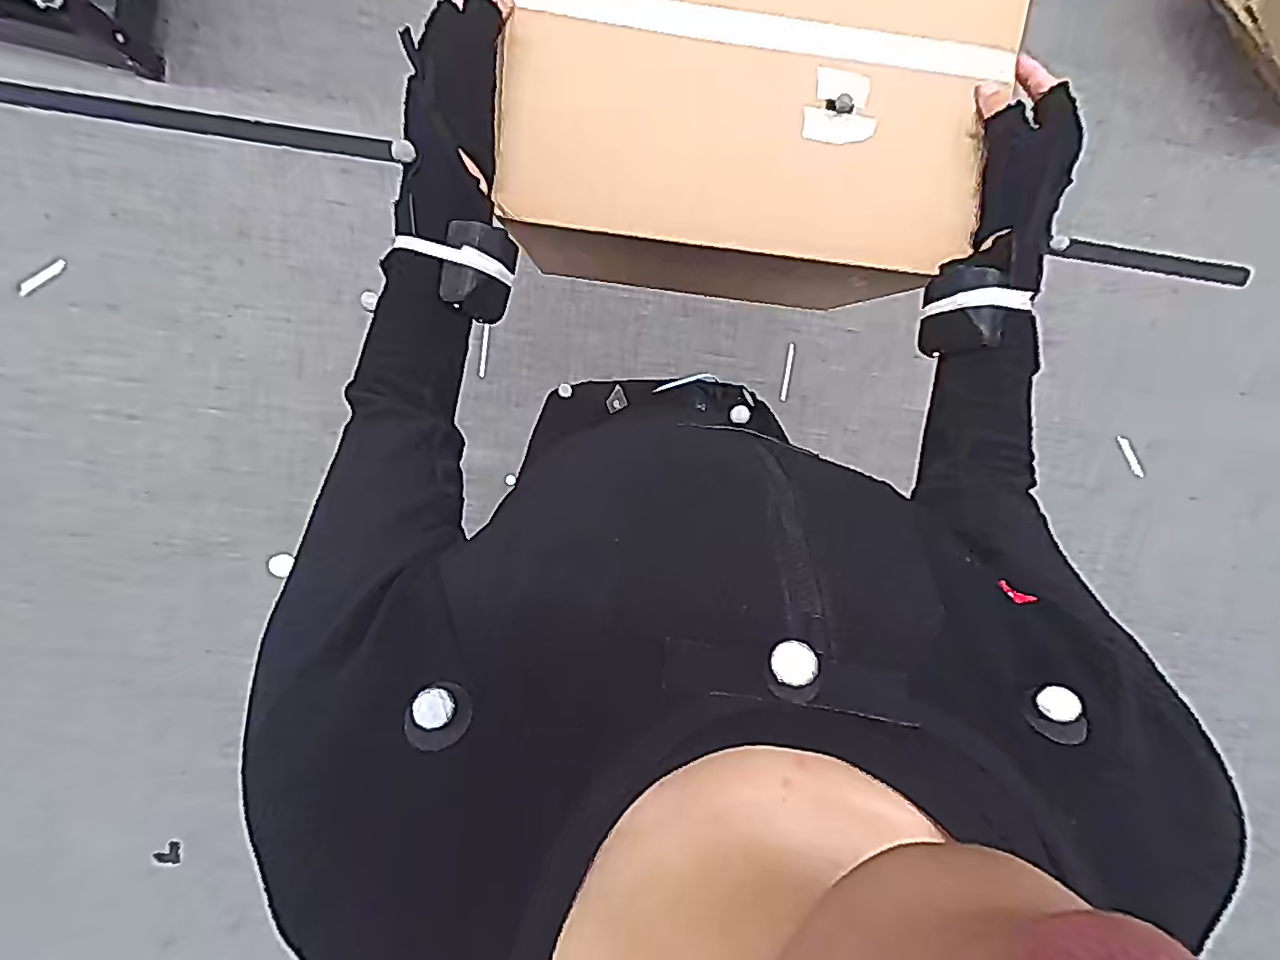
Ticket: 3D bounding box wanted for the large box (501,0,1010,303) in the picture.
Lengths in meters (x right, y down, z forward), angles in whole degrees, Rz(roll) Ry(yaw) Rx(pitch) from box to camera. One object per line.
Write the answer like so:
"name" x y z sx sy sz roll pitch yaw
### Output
"large box" 0.084 -0.383 0.578 0.408 0.320 0.320 6 103 -5
